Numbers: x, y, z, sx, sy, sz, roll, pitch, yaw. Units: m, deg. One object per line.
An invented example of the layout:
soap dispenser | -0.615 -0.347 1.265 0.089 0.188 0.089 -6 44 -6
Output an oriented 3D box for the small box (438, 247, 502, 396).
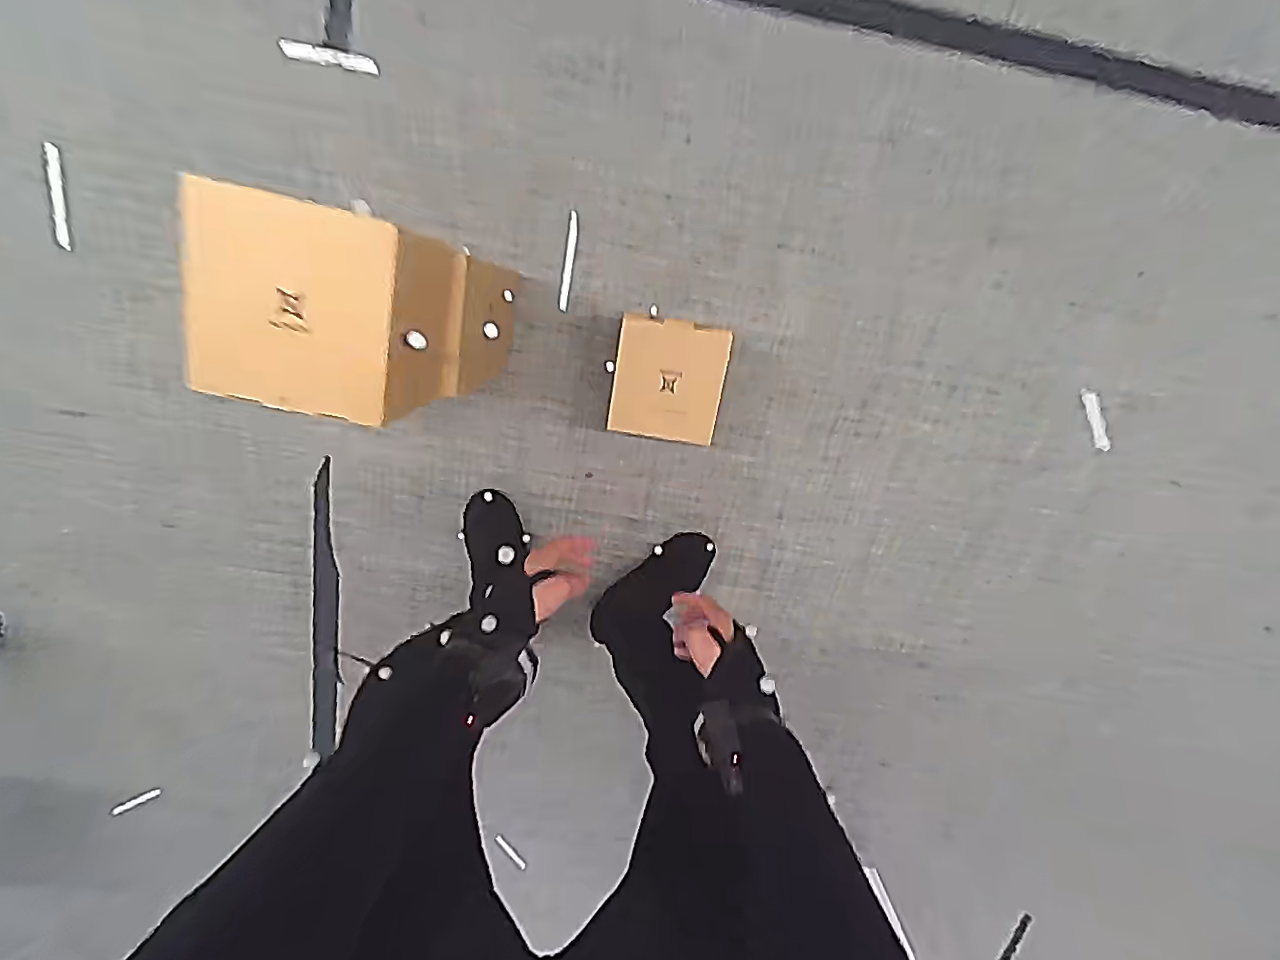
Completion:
small box | -0.286 -0.212 0.688 0.179 0.176 0.168 9 107 -6

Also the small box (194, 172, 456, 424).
small box | -0.290 -0.170 0.531 0.168 0.176 0.179 11 108 -6

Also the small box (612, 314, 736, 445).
small box | 0.048 -0.171 0.886 0.168 0.176 0.179 8 108 -3
